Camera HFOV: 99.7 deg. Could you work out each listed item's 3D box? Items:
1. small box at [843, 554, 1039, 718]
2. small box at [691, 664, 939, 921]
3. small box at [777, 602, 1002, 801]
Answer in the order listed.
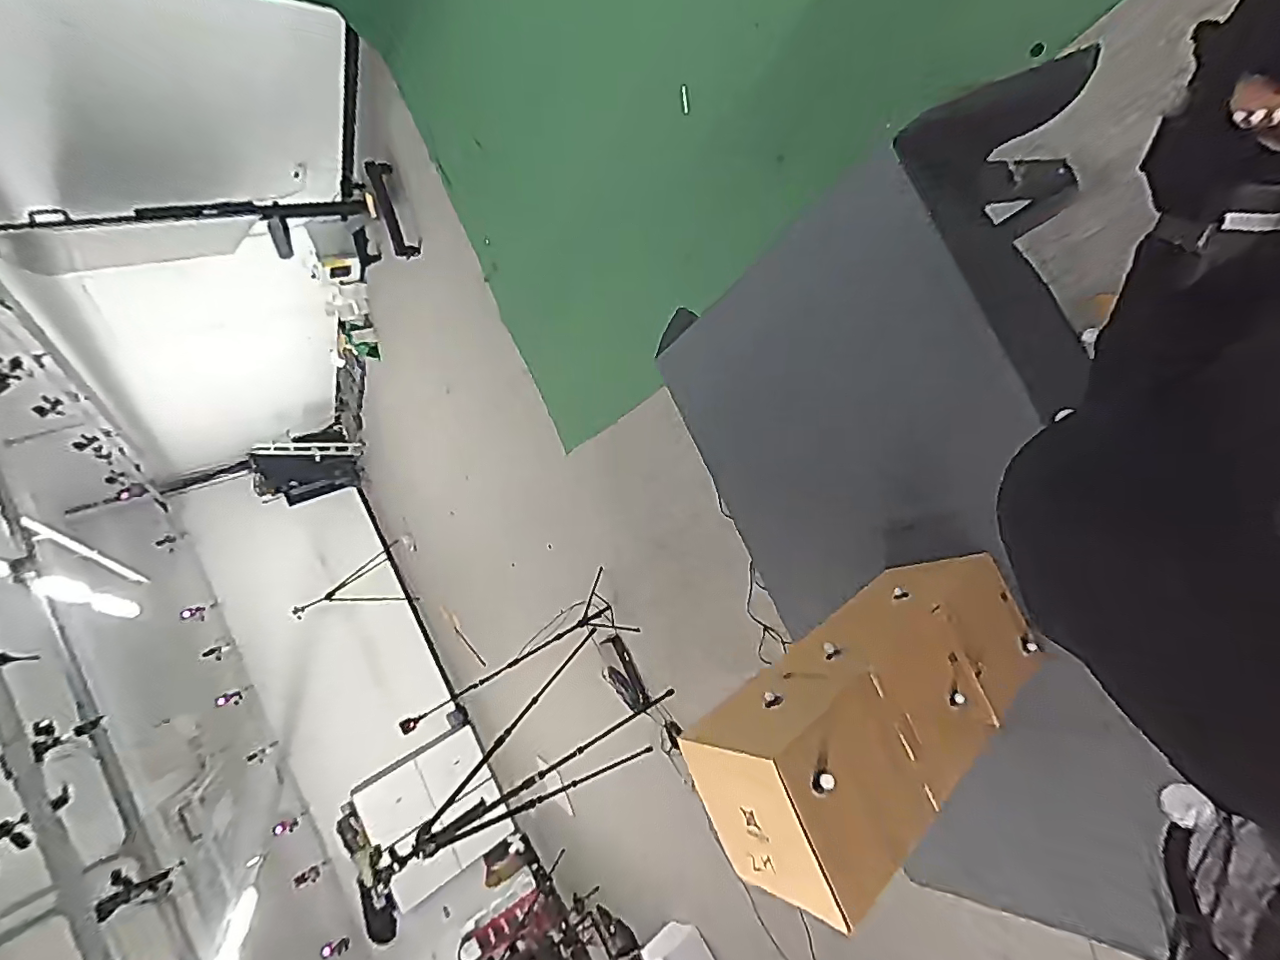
[{"bbox_3d":[0.446,0.223,0.796,0.179,0.176,0.168,-32,82,57],"label":"small box"},{"bbox_3d":[0.195,0.326,0.613,0.168,0.176,0.179,-29,85,57],"label":"small box"},{"bbox_3d":[0.321,0.275,0.707,0.179,0.176,0.168,-32,83,56],"label":"small box"}]
